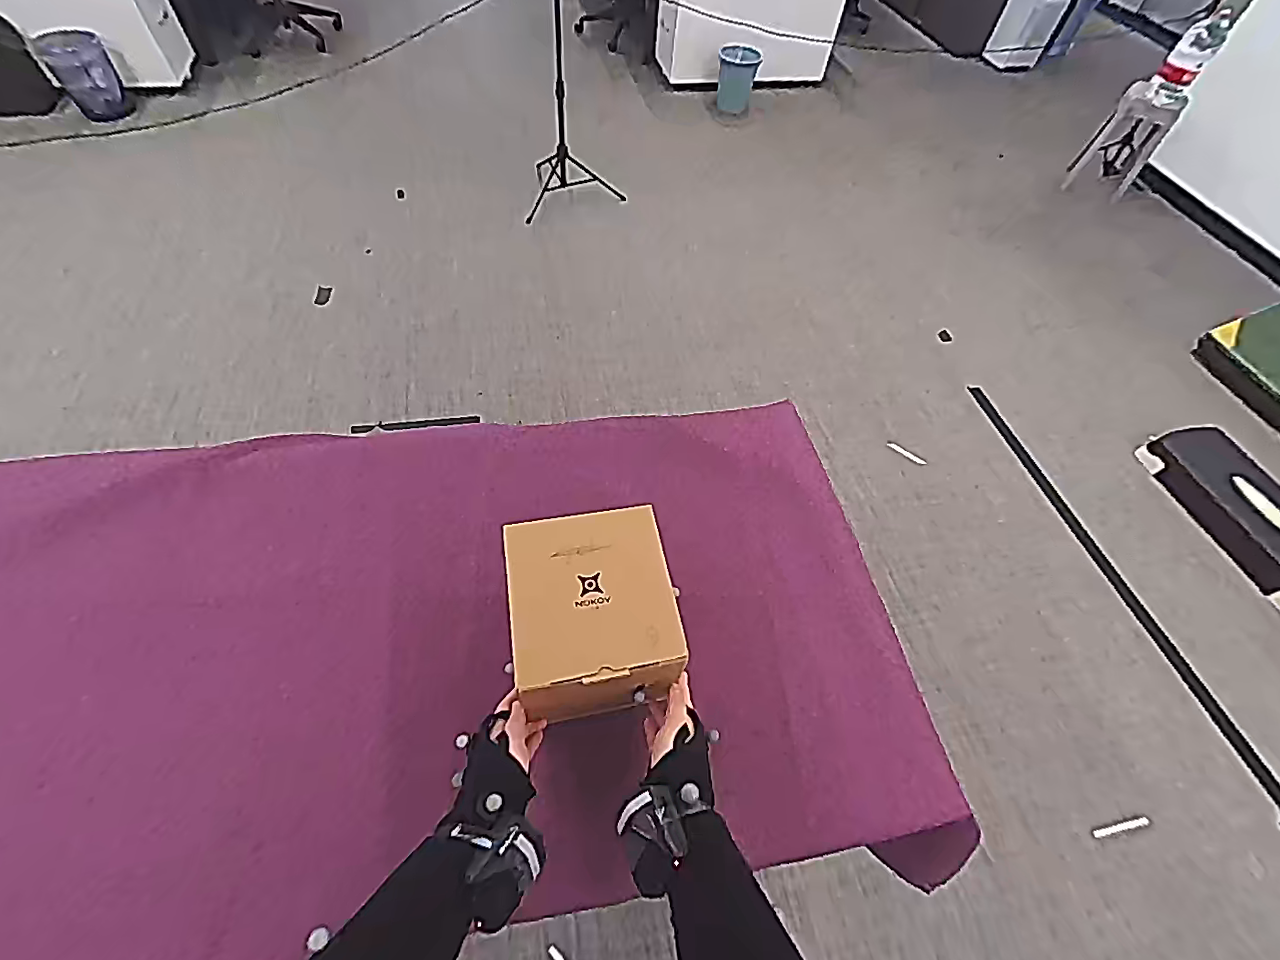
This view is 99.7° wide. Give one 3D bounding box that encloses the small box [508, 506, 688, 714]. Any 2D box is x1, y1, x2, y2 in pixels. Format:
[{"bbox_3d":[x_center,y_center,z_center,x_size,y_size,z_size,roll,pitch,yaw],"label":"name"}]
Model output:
[{"bbox_3d":[-0.052,0.154,0.612,0.168,0.176,0.179,-7,57,-10],"label":"small box"}]
